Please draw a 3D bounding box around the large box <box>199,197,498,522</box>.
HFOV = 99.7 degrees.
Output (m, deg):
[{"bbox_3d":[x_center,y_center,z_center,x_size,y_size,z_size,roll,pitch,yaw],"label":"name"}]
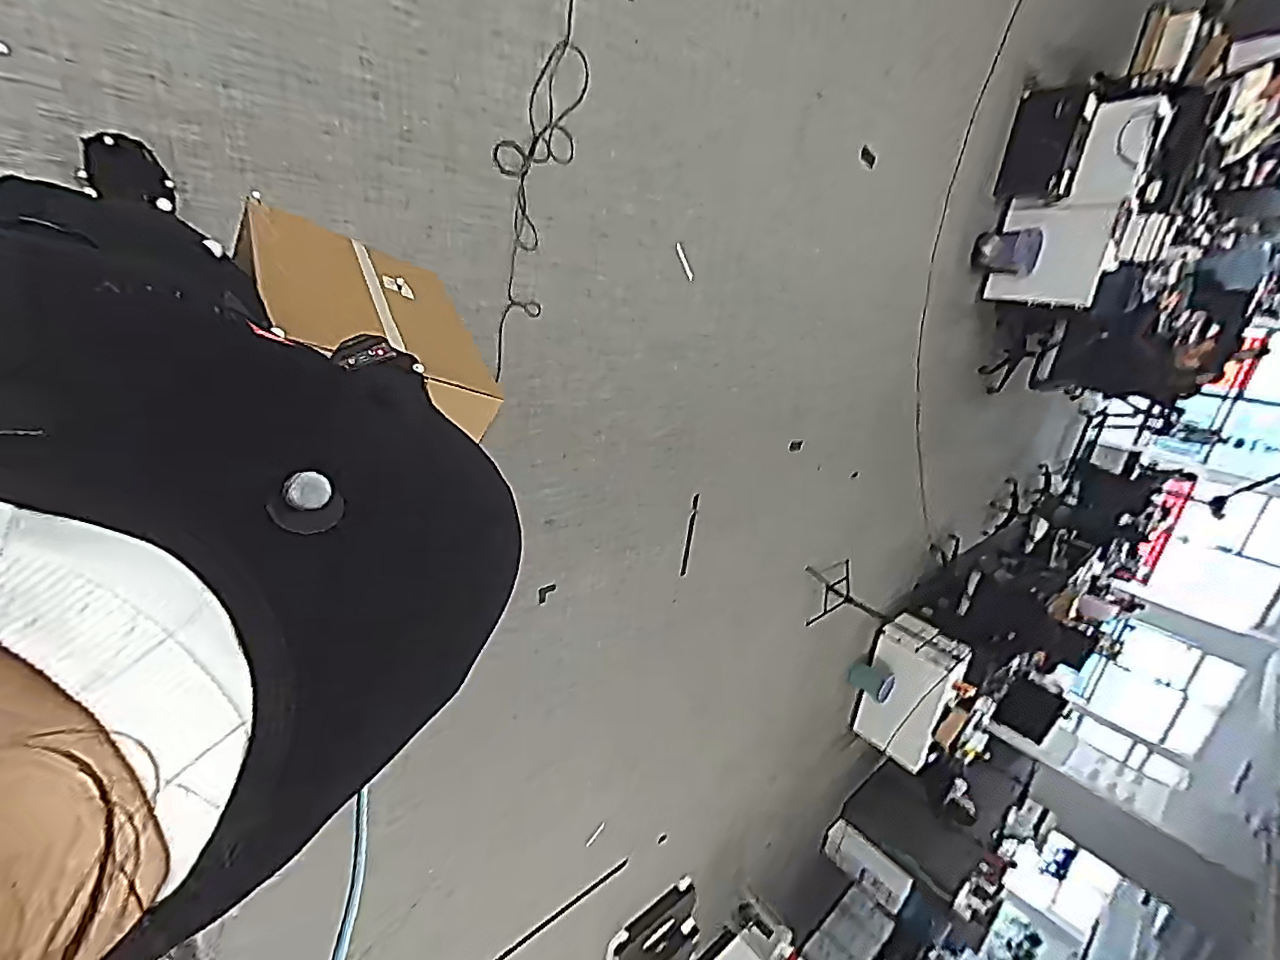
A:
[{"bbox_3d":[-0.497,-0.177,0.891,0.320,0.408,0.320,11,125,-47],"label":"large box"}]
